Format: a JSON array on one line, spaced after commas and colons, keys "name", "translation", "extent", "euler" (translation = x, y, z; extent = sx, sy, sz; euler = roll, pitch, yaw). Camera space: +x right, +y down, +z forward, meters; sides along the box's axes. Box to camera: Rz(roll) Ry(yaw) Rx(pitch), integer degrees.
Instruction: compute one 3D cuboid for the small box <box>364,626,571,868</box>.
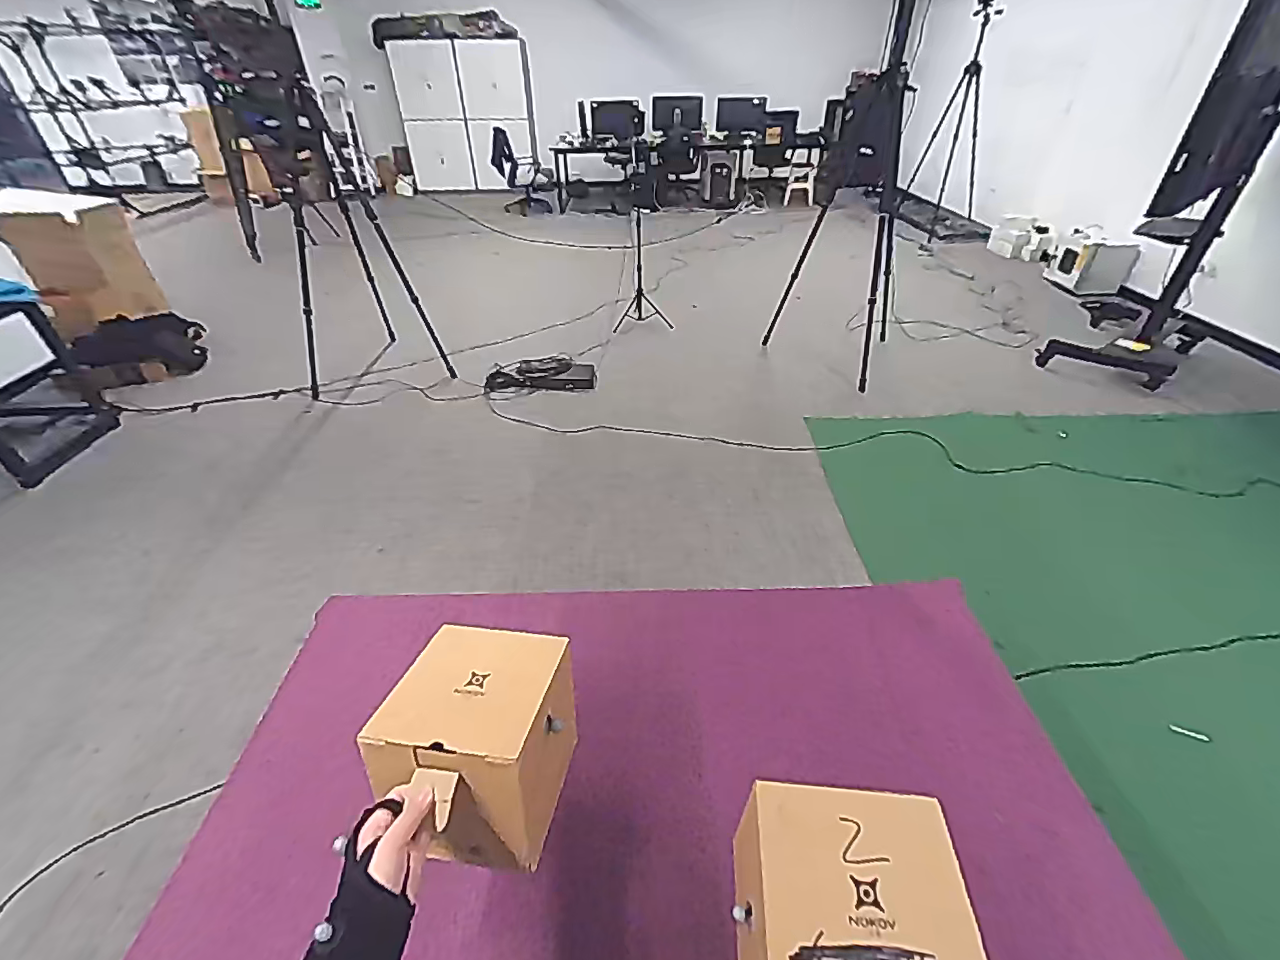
[{"name": "small box", "translation": [-0.181, 0.299, 0.628], "extent": [0.168, 0.176, 0.179], "euler": [3, 25, 9]}]
